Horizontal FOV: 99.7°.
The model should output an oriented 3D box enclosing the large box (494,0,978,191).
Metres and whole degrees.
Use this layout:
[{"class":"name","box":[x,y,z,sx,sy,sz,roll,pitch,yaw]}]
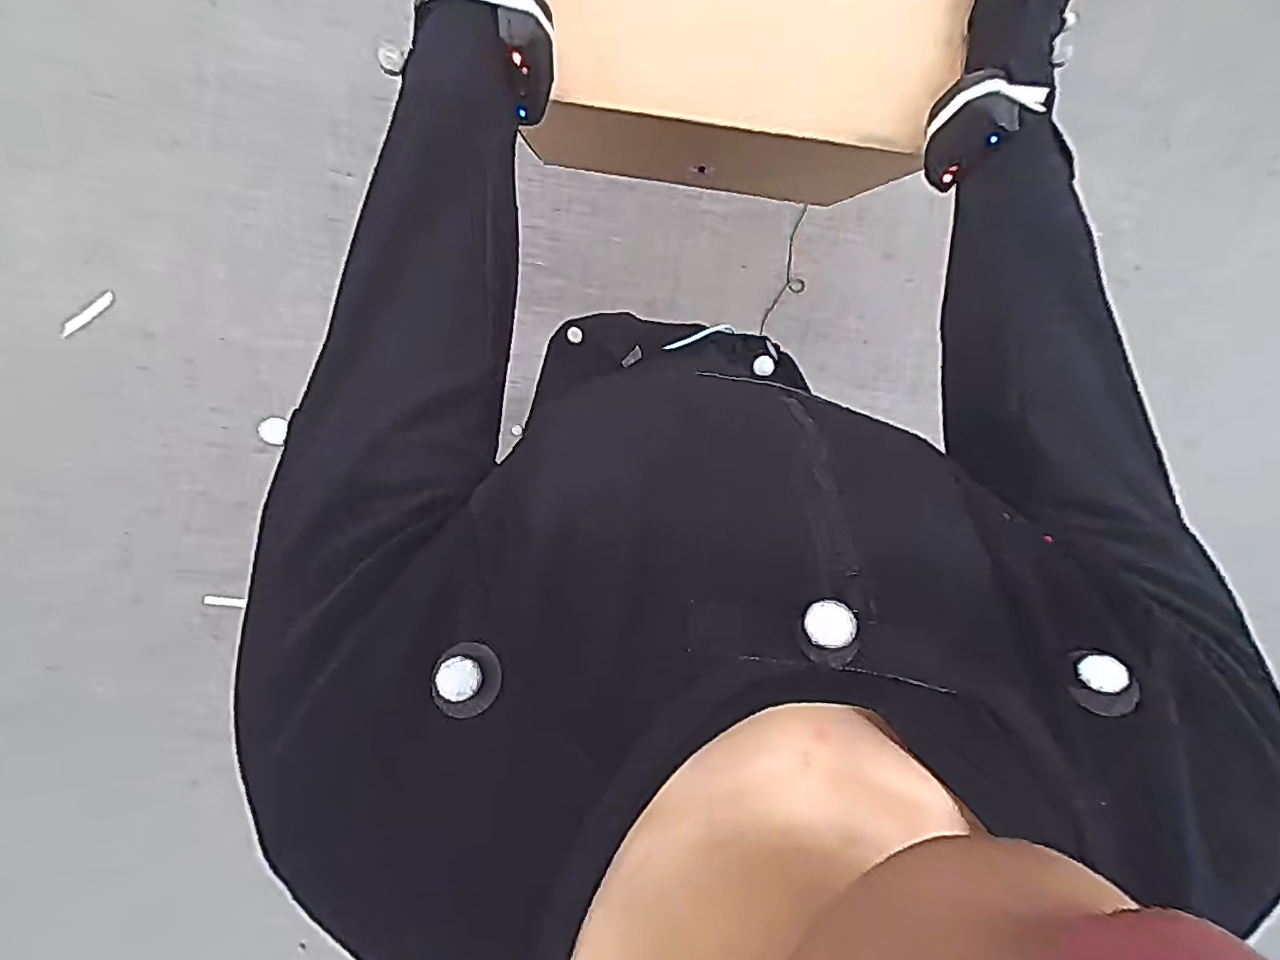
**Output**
[{"class":"large box","box":[0.088,-0.509,0.560,0.408,0.320,0.320,6,109,-4]}]
